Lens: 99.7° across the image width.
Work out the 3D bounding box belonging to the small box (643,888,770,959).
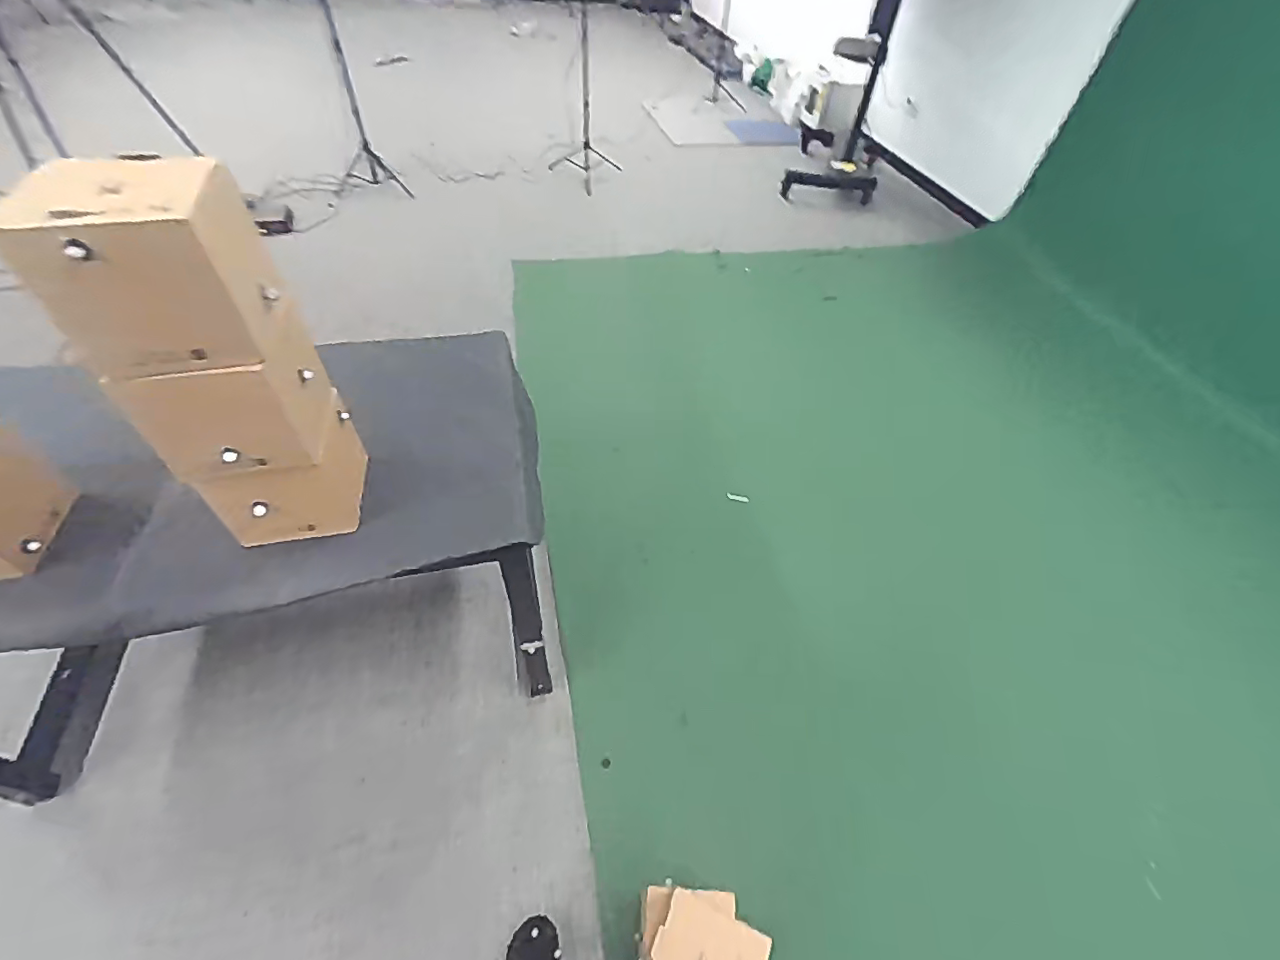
[{"bbox_3d":[0.097,0.832,0.914,0.179,0.176,0.168,21,52,12],"label":"small box"}]

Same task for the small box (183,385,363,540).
[{"bbox_3d":[-0.551,-0.021,0.844,0.168,0.176,0.179,-8,49,-11],"label":"small box"}]

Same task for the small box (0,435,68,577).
[{"bbox_3d":[-0.984,0.036,0.756,0.179,0.176,0.168,-7,49,-10],"label":"small box"}]

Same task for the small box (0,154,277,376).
[{"bbox_3d":[-0.533,-0.239,0.598,0.168,0.176,0.179,-11,49,-13],"label":"small box"}]
